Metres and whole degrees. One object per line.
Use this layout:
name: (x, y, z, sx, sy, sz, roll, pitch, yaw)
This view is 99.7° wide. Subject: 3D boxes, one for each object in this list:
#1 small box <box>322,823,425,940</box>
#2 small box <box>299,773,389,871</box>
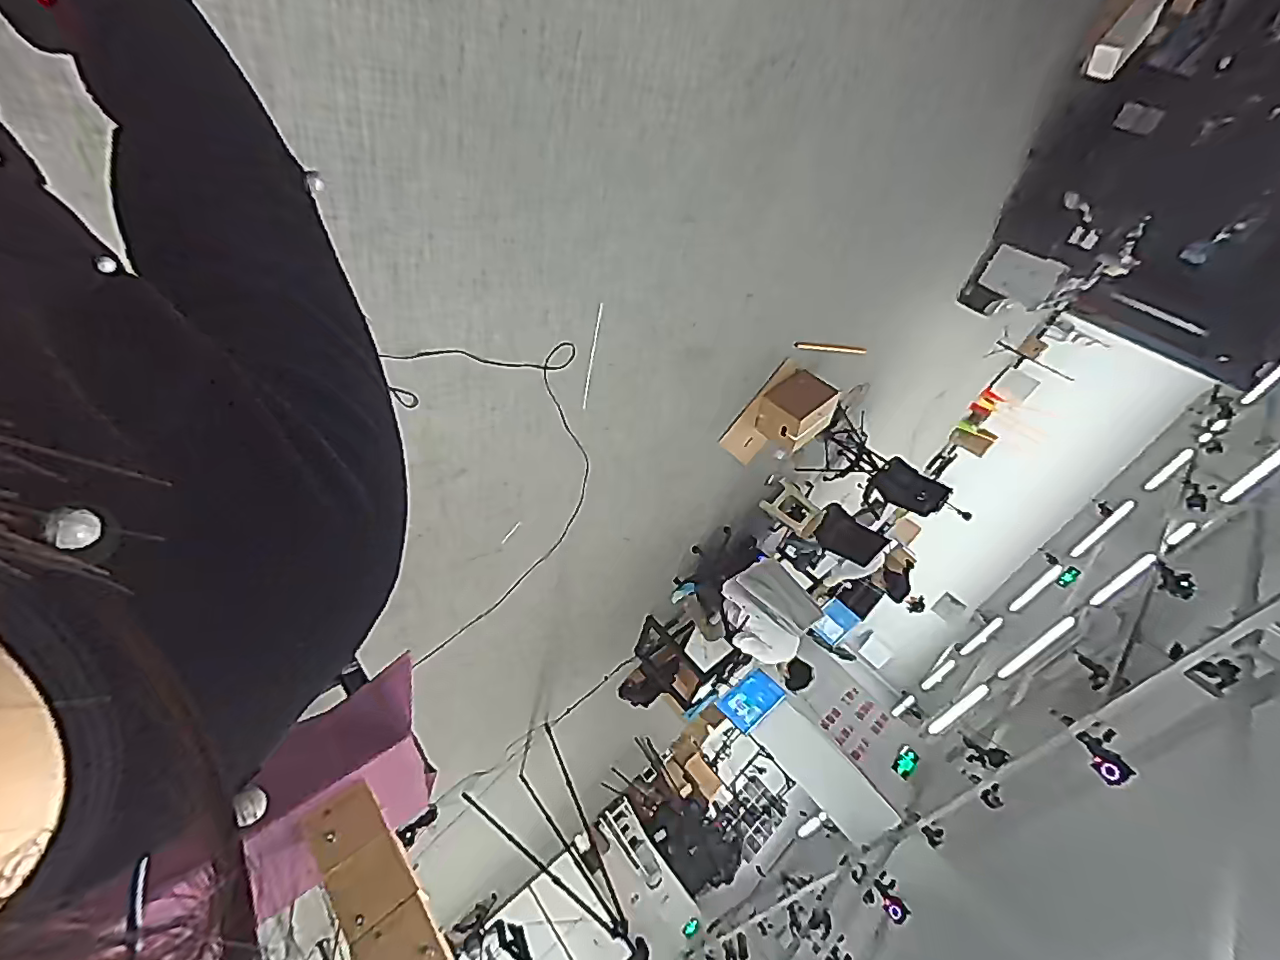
small box: (-0.687, 1.035, 1.402, 0.179, 0.176, 0.168, -27, 147, -32)
small box: (-0.796, 0.938, 1.472, 0.168, 0.176, 0.179, -26, 147, -34)
